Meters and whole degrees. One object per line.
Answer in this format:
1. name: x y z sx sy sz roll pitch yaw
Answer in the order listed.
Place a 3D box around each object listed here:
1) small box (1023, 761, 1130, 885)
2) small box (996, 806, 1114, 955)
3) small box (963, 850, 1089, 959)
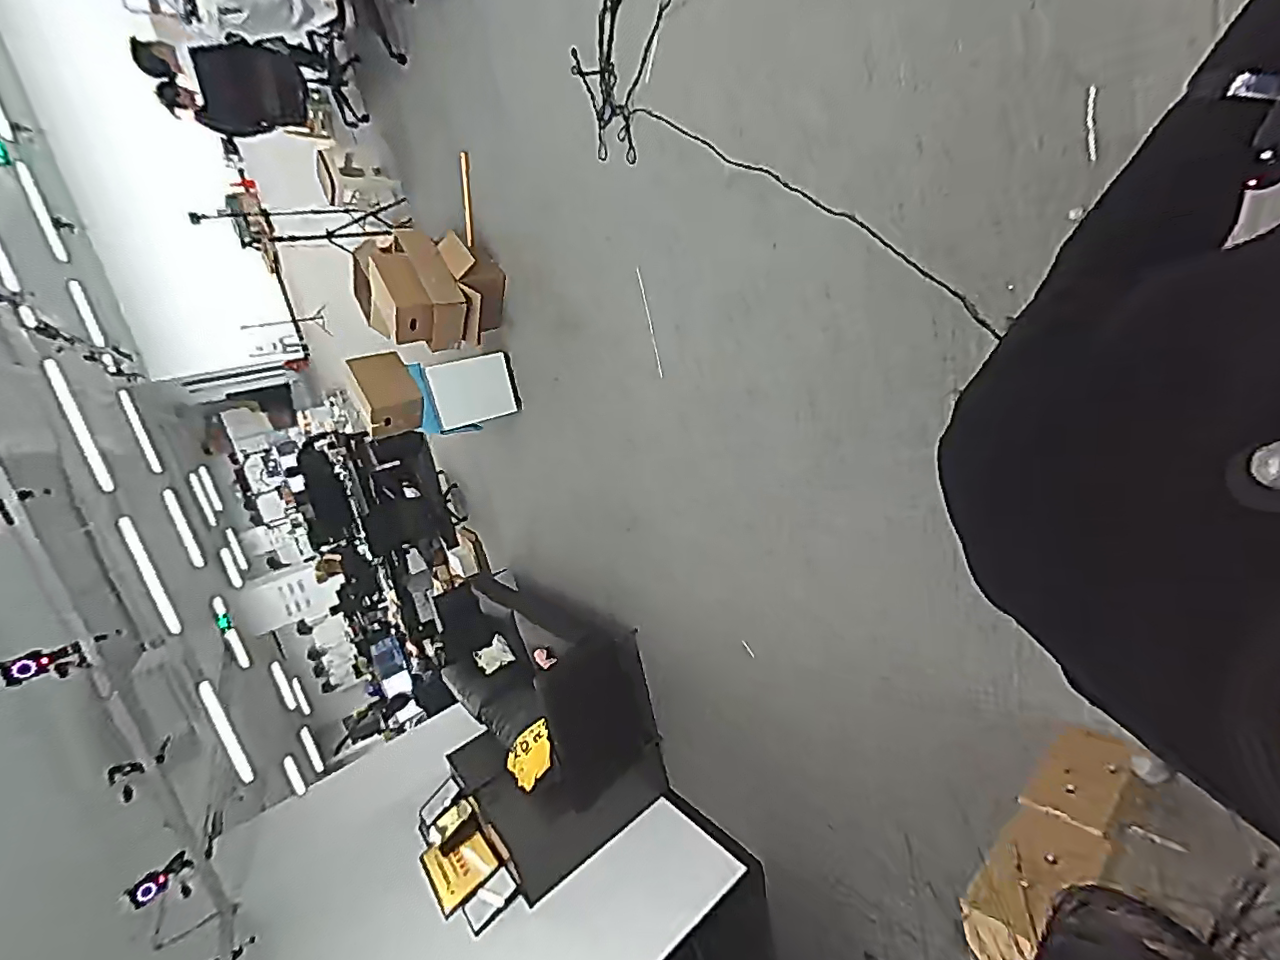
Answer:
1. small box: 1.063 0.830 1.317 0.168 0.176 0.179 3 111 55
2. small box: 0.942 0.889 1.222 0.179 0.176 0.168 5 112 55
3. small box: 0.812 0.941 1.134 0.168 0.176 0.179 2 110 54
